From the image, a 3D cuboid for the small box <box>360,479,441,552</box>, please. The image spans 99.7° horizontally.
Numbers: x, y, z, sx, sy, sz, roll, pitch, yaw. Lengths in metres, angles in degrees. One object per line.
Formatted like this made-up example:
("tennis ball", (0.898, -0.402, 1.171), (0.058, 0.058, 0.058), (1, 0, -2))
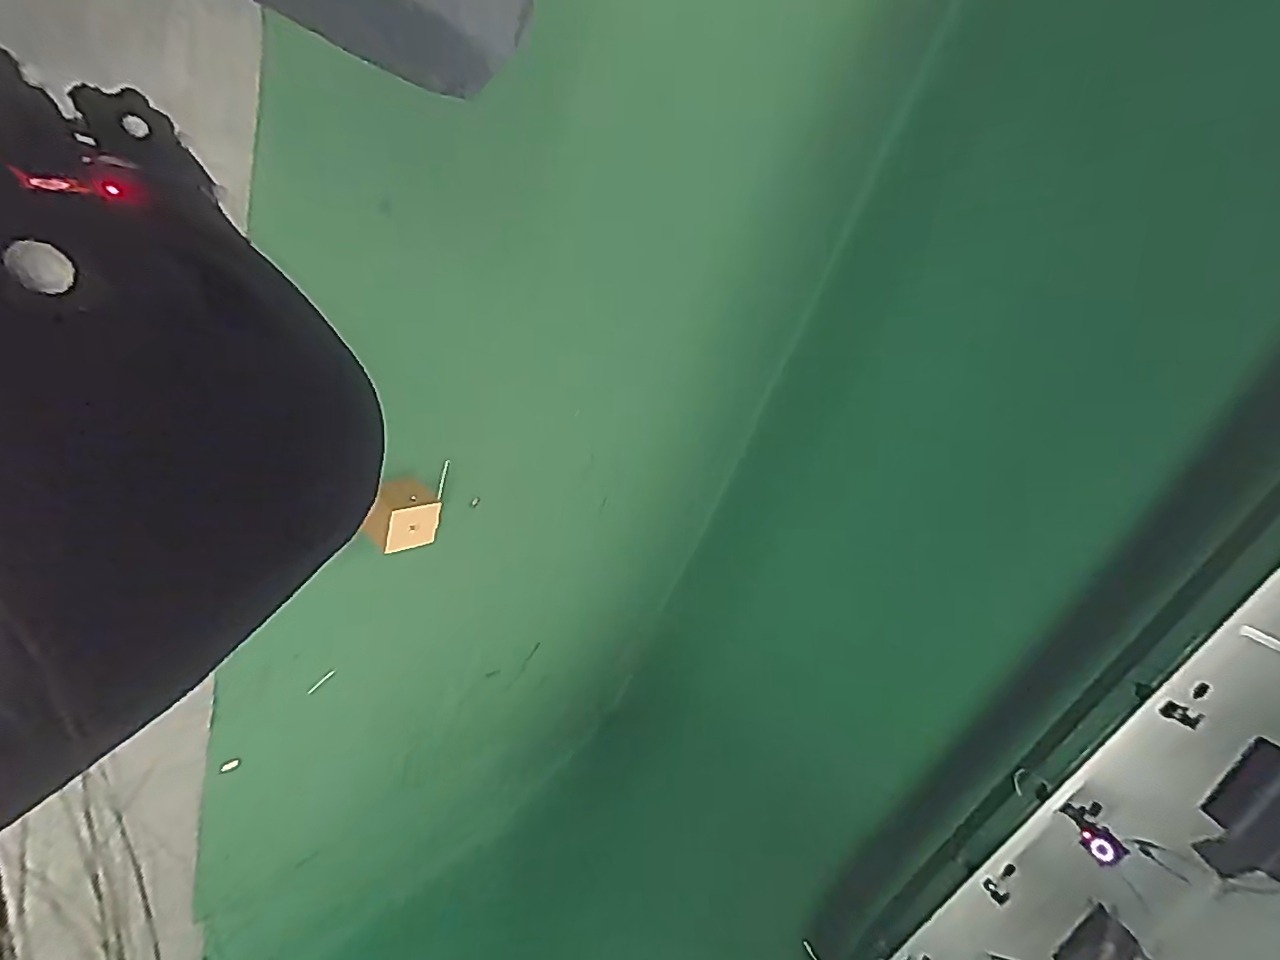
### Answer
("small box", (-0.793, 0.109, 1.786), (0.179, 0.176, 0.168), (-13, 129, -51))
